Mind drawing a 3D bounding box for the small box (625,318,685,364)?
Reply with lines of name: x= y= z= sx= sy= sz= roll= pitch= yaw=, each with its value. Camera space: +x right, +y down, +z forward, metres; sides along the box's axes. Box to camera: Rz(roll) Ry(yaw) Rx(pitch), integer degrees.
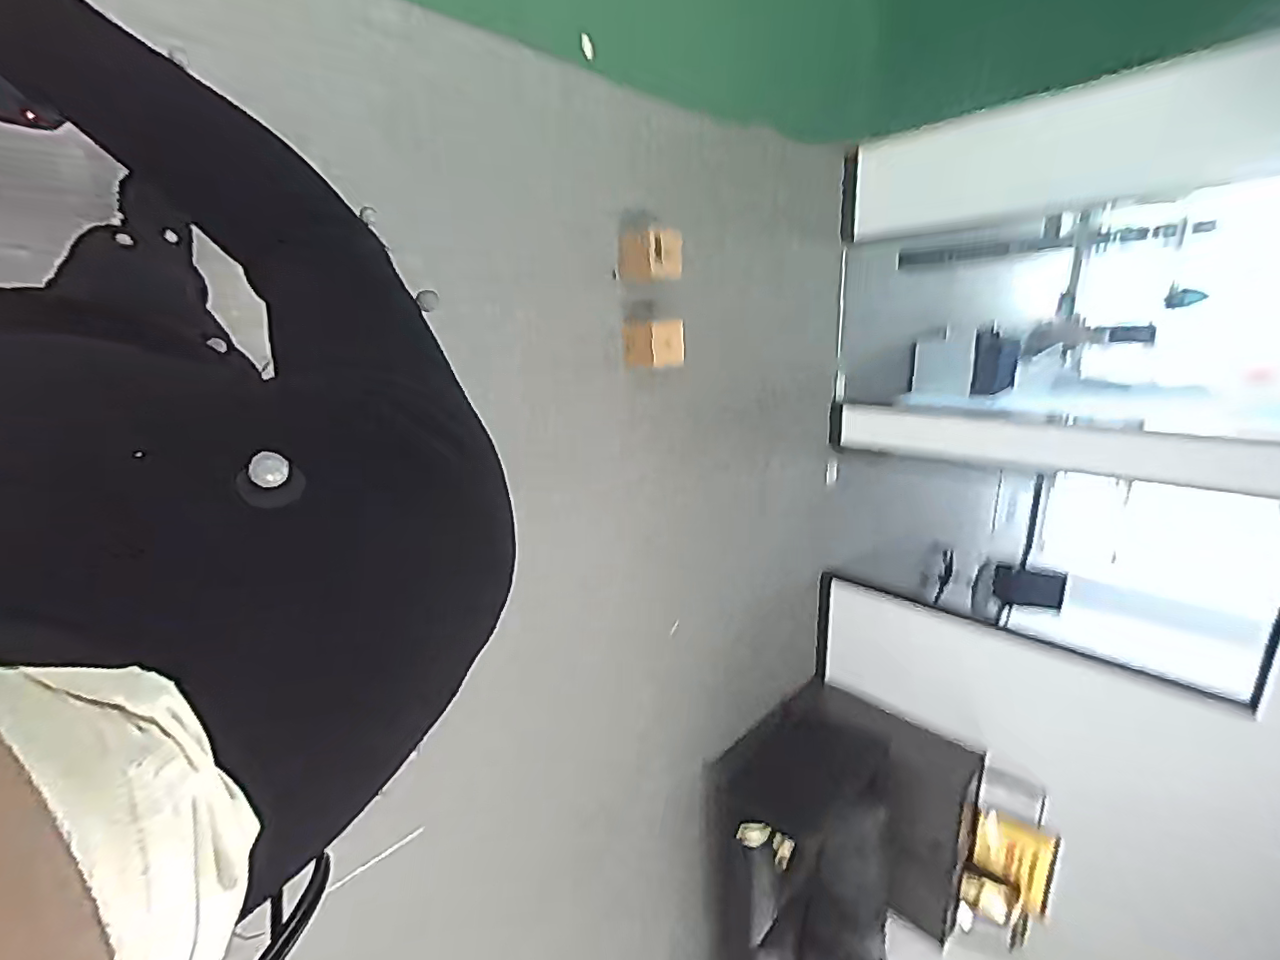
small box: x=0.059 y=-0.555 z=2.140 sx=0.179 sy=0.176 sz=0.168 roll=-17 pitch=113 yaw=-39
